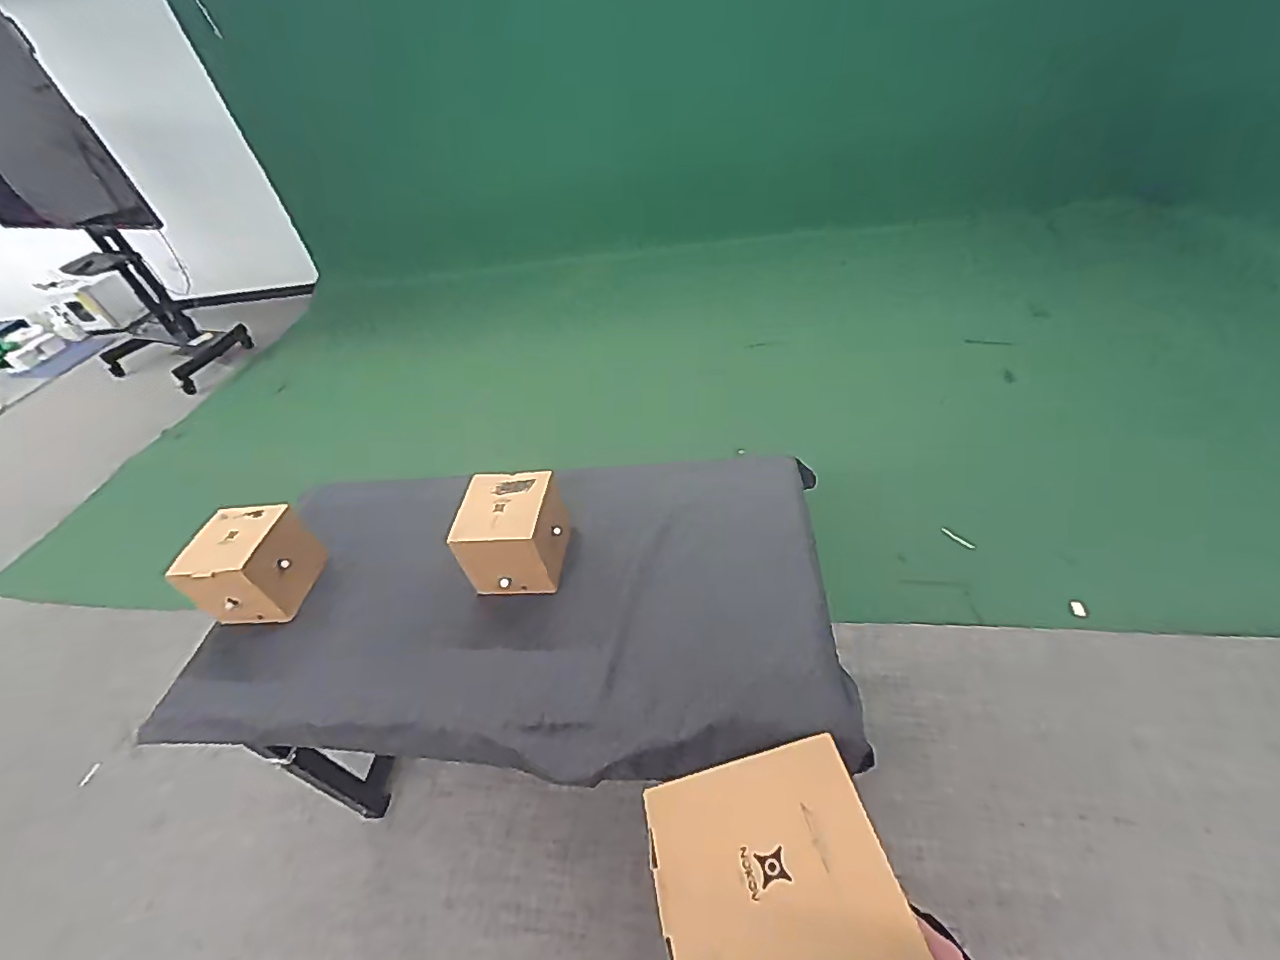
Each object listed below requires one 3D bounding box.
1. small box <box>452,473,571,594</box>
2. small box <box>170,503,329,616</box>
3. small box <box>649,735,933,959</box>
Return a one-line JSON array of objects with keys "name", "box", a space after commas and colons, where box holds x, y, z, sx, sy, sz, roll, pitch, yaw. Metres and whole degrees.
[{"name": "small box", "box": [-0.242, 0.105, 1.073, 0.168, 0.176, 0.179, -2, 45, 10]}, {"name": "small box", "box": [-0.789, 0.170, 1.119, 0.168, 0.176, 0.179, -3, 44, 7]}, {"name": "small box", "box": [0.124, 0.362, 0.475, 0.179, 0.176, 0.168, -18, 40, 1]}]
